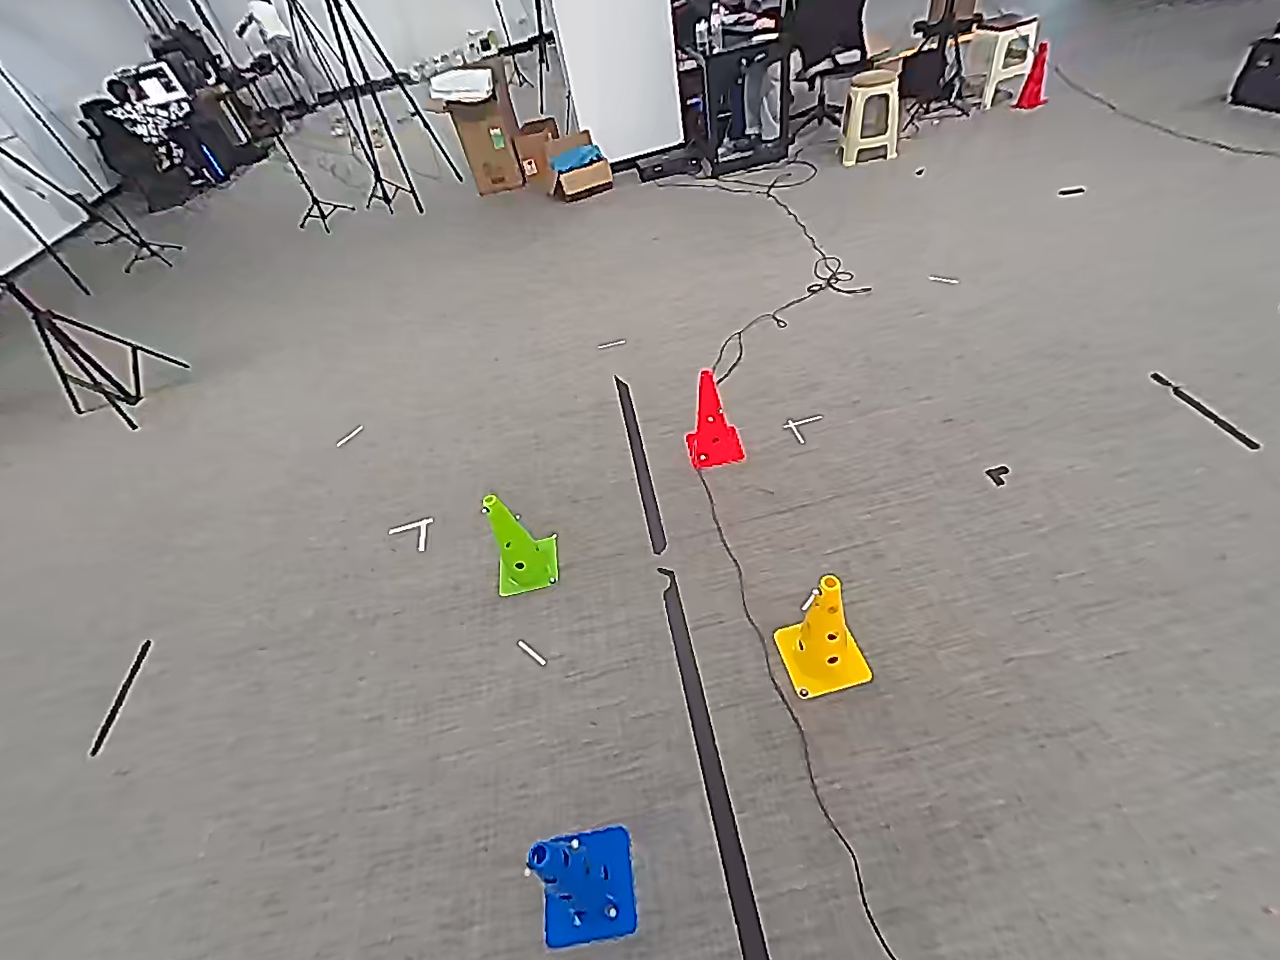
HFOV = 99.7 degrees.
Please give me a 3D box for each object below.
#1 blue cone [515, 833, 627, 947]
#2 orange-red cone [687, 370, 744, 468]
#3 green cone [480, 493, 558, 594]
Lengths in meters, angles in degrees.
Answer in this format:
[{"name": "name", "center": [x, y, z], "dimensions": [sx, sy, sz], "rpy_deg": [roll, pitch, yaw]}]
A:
[{"name": "blue cone", "center": [-0.156, 0.786, 1.079], "dimensions": [0.192, 0.380, 0.193], "rpy_deg": [-12, 45, 4]}, {"name": "orange-red cone", "center": [0.256, -0.239, 1.937], "dimensions": [0.199, 0.360, 0.198], "rpy_deg": [-10, 47, 3]}, {"name": "green cone", "center": [-0.411, 0.169, 1.711], "dimensions": [0.202, 0.368, 0.200], "rpy_deg": [-15, 45, 2]}]
